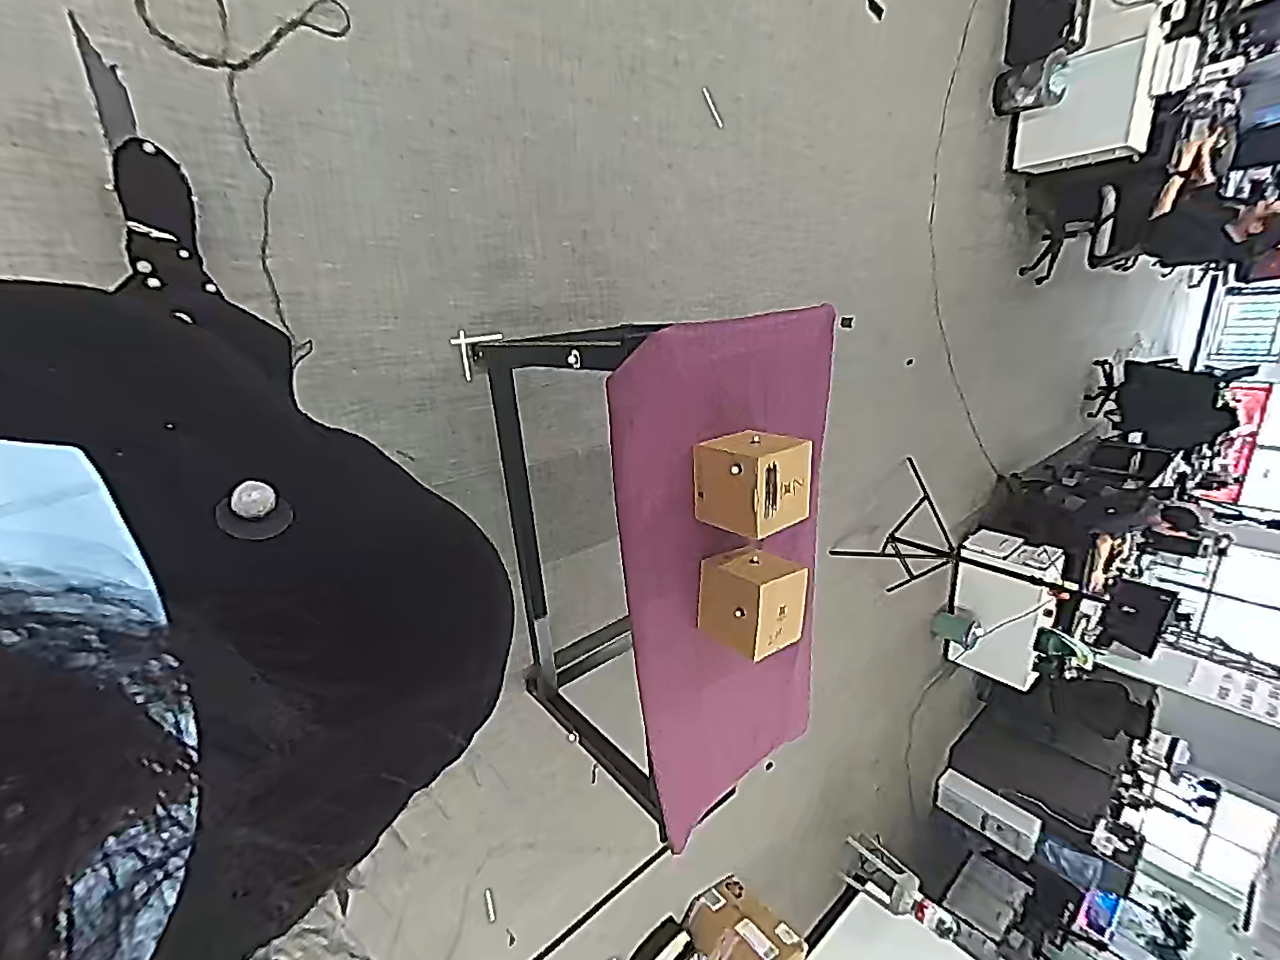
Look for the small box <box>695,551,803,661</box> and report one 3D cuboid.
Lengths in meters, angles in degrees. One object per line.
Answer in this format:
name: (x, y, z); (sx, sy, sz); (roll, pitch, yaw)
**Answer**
small box: (0.239, 0.268, 1.204); (0.168, 0.176, 0.179); (-8, 107, -39)
